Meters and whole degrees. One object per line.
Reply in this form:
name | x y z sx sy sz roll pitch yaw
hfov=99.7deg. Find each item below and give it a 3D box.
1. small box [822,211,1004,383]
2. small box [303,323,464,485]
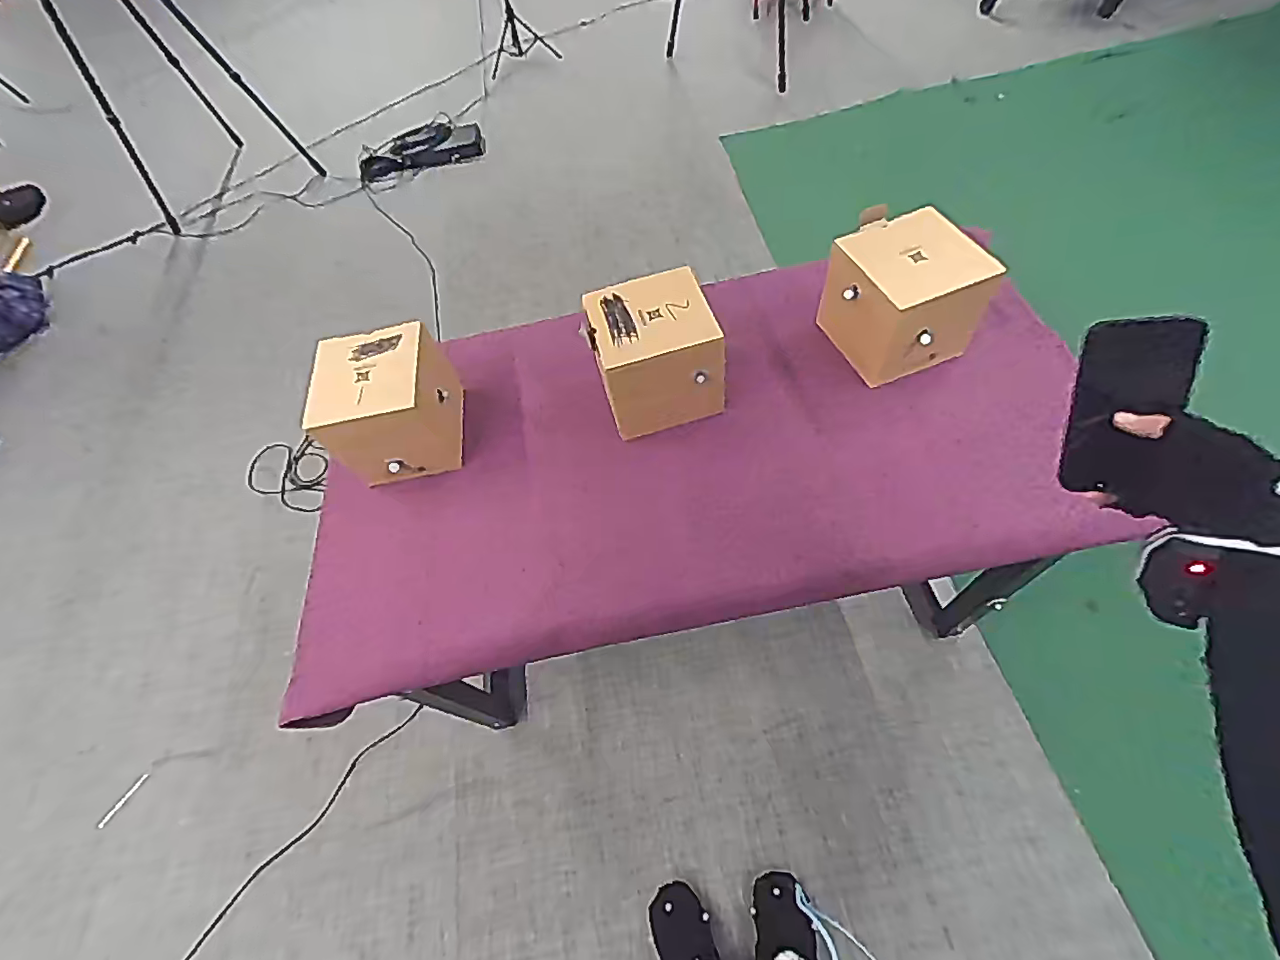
small box | 0.407 -0.274 0.842 0.168 0.176 0.179 -21 58 -4
small box | -0.392 -0.117 0.861 0.168 0.176 0.179 -11 60 2
